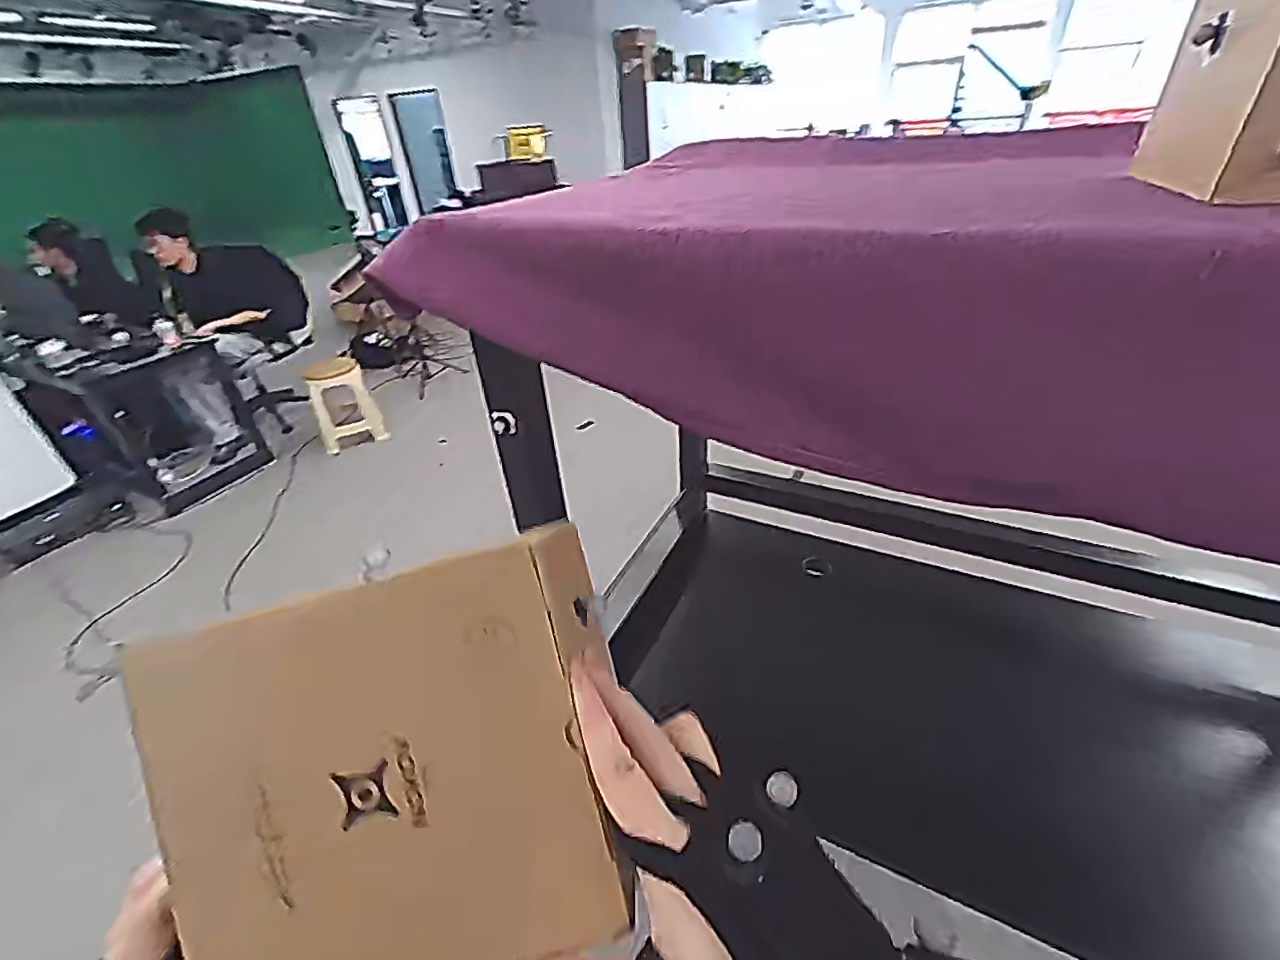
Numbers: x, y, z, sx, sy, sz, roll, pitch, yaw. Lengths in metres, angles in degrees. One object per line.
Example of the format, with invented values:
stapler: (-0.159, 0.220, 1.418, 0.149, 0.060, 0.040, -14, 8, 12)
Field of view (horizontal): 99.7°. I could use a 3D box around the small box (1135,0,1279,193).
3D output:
small box: (0.464, -0.278, 0.336, 0.168, 0.176, 0.179, 10, 35, 20)
